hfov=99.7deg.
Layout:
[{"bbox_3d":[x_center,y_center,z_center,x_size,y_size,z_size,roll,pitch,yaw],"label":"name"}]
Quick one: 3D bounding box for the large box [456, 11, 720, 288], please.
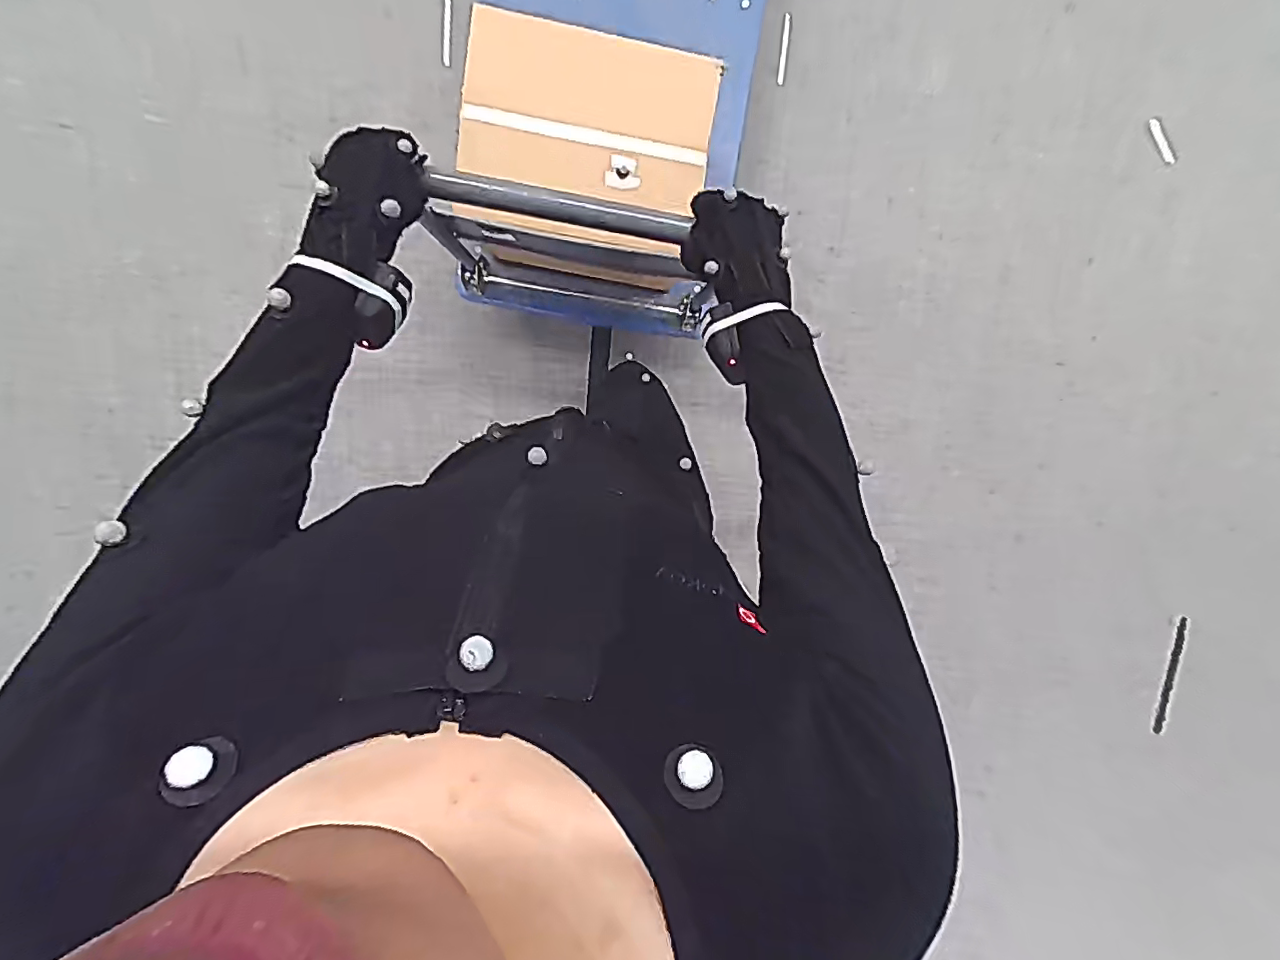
[{"bbox_3d":[-0.100,-0.580,1.027,0.408,0.320,0.320,8,100,-6],"label":"large box"}]
